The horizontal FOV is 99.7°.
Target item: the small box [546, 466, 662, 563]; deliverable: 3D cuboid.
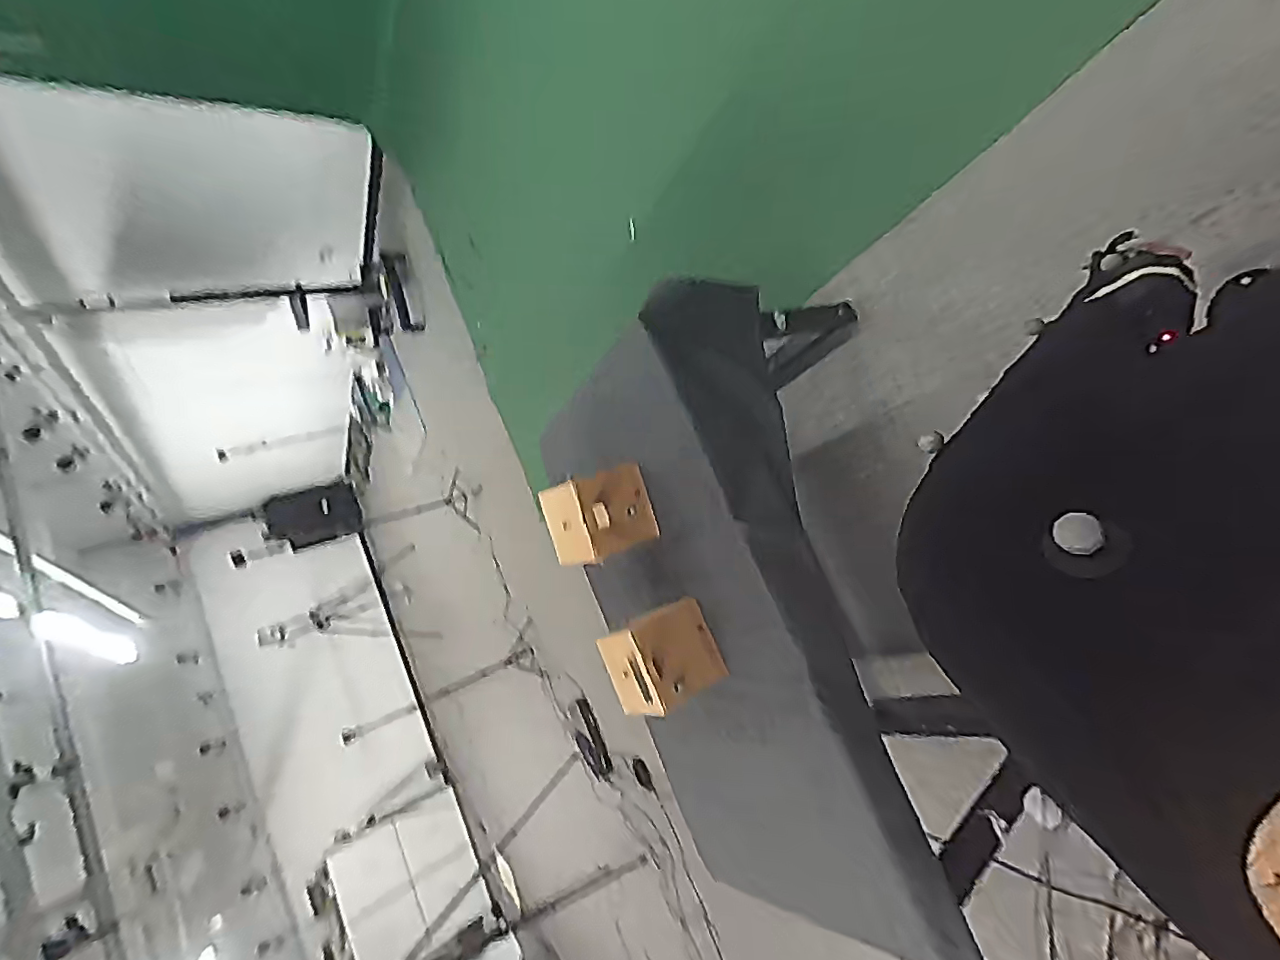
[{"bbox_3d":[-0.079,0.077,1.185,0.179,0.176,0.168,-19,88,55],"label":"small box"}]
